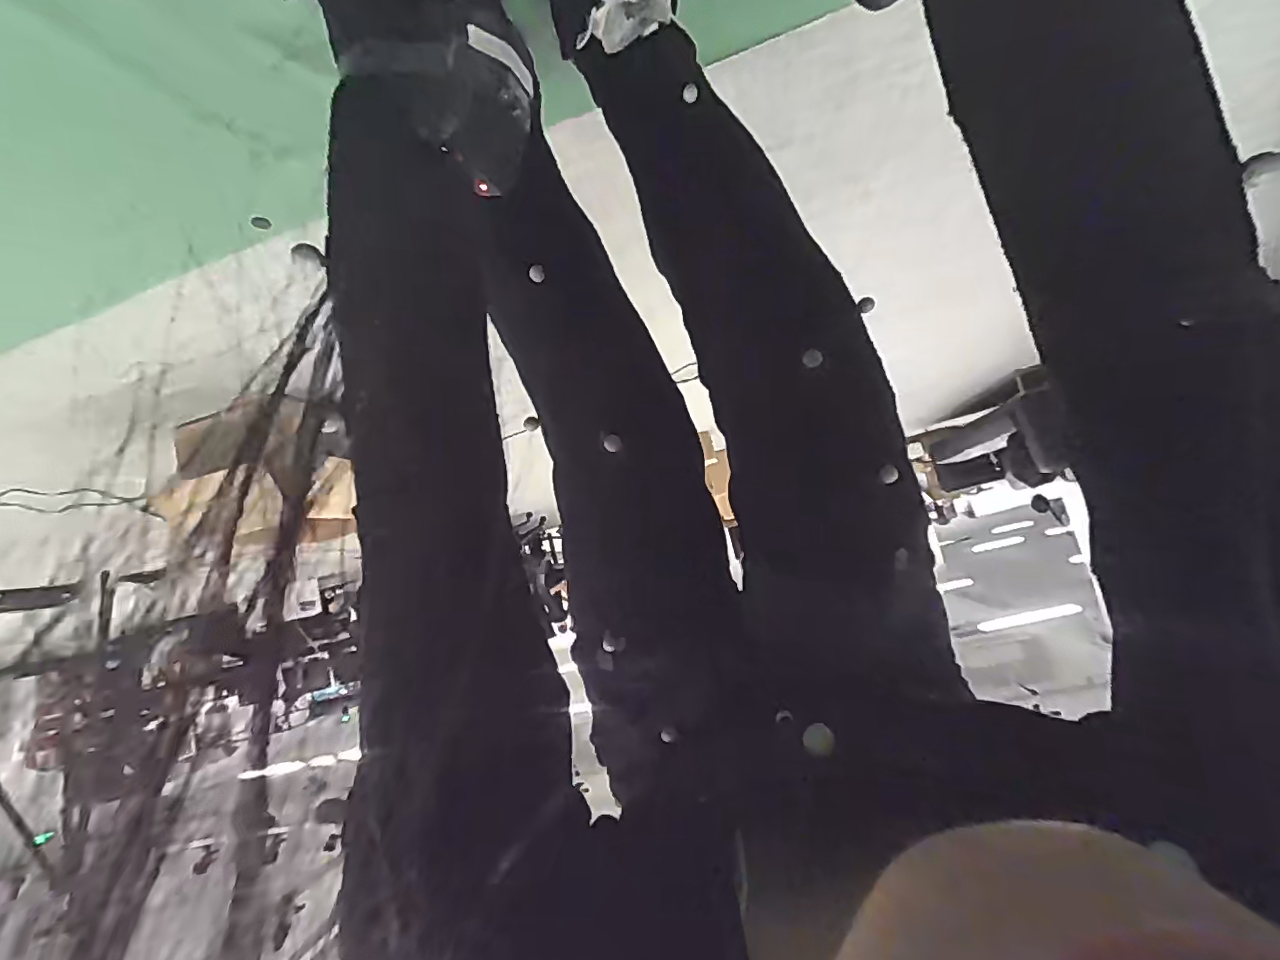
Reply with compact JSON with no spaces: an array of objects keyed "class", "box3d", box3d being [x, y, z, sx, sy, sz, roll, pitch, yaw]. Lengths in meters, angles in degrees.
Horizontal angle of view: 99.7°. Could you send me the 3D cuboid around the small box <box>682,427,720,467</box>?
[{"class":"small box","box3d":[0.346,-0.188,3.067,0.179,0.176,0.168,-16,172,12]}]
